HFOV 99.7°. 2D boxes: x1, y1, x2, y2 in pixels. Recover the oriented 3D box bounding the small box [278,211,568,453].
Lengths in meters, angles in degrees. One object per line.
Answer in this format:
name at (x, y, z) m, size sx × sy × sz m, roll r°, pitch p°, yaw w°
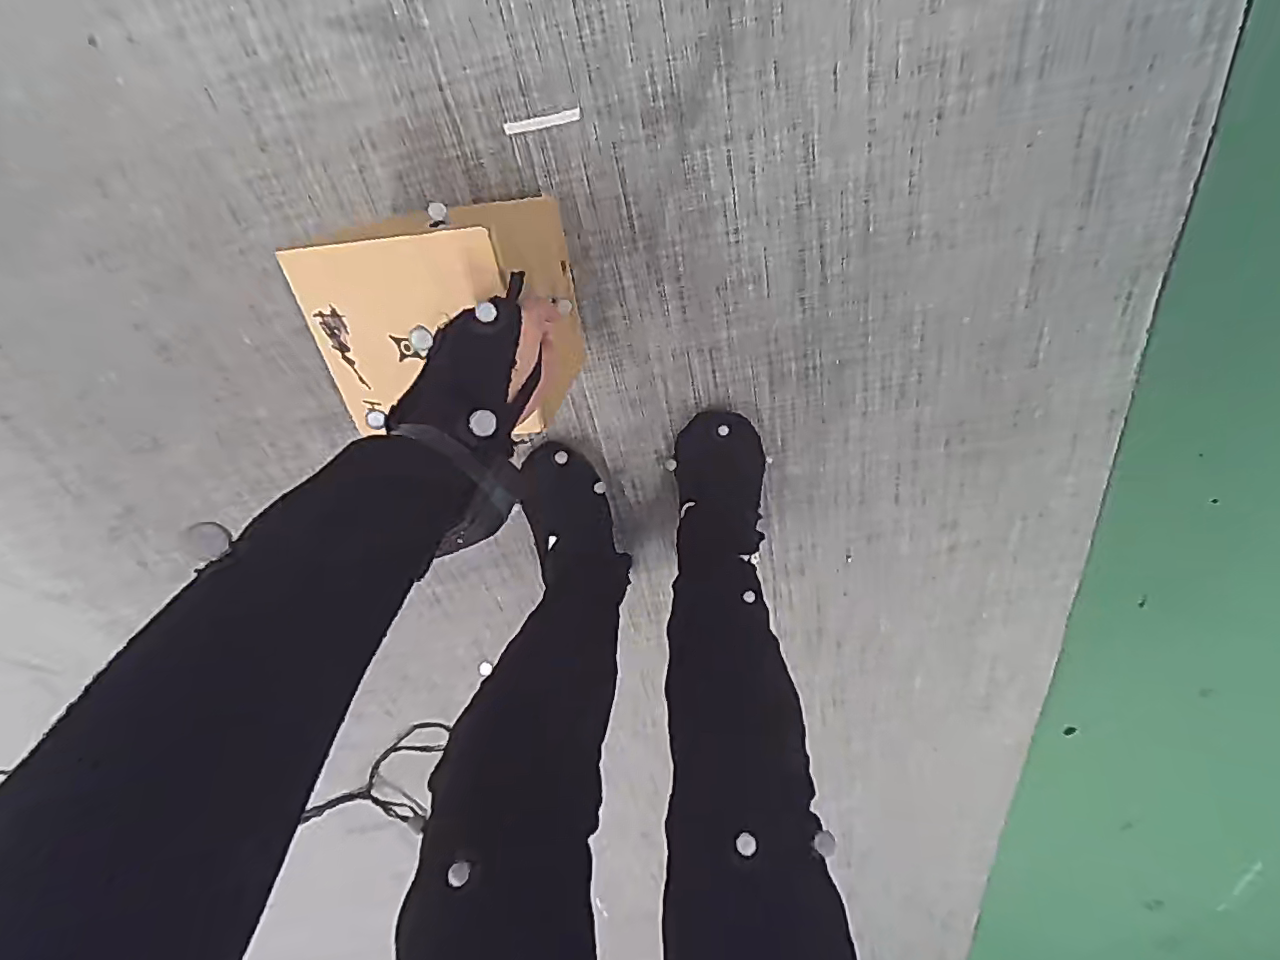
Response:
small box at (-0.172, -0.142, 0.503) m, size 0.179 × 0.176 × 0.168 m, roll -3°, pitch 124°, yaw 9°
